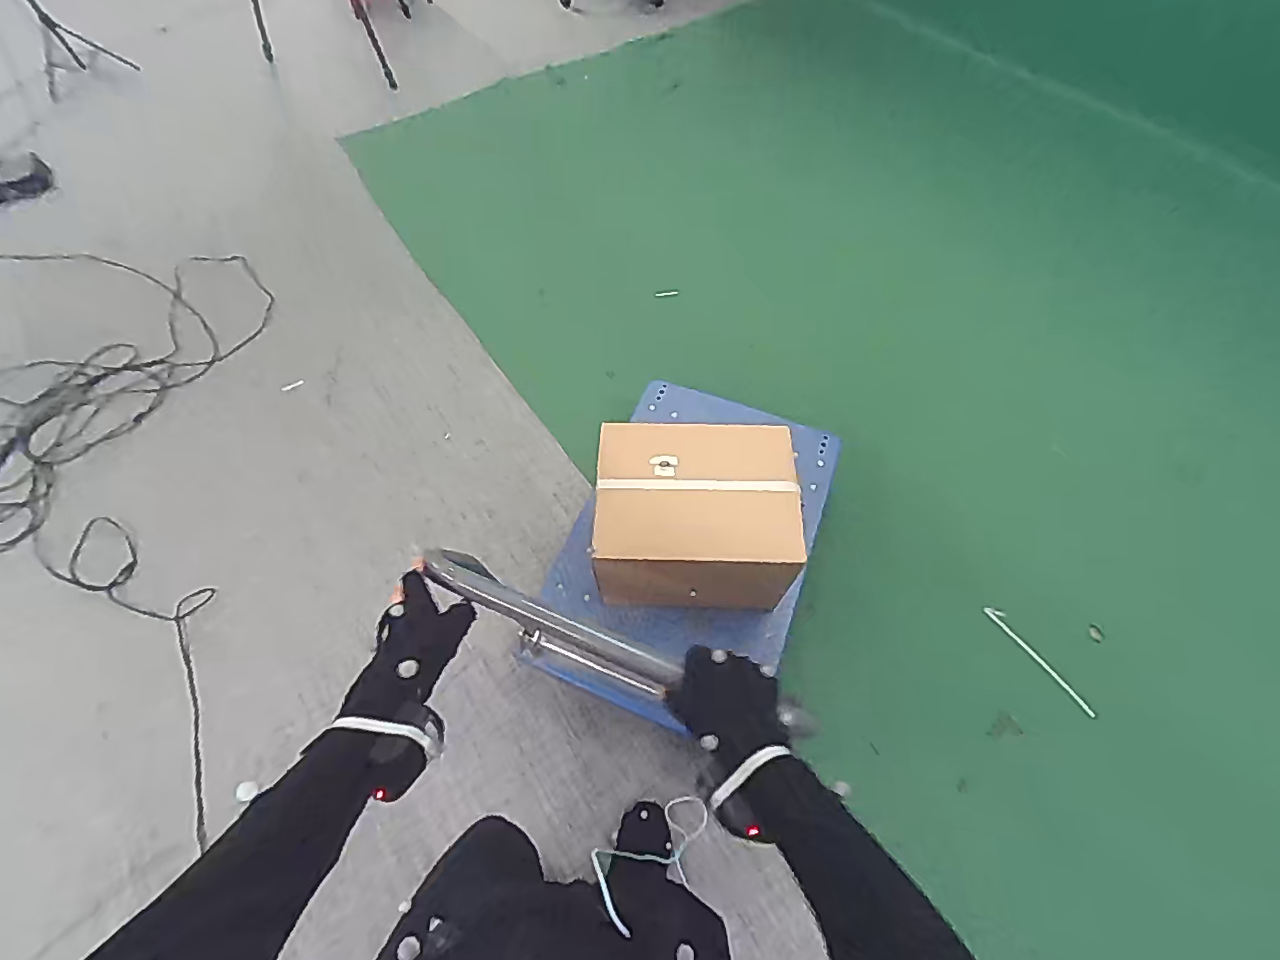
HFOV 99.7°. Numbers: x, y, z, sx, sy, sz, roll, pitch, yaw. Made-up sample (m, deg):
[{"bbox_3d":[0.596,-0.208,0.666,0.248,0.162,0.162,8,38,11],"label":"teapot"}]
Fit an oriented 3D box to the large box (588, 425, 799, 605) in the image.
[{"bbox_3d":[0.110,0.089,1.215,0.408,0.320,0.320,2,60,3],"label":"large box"}]
